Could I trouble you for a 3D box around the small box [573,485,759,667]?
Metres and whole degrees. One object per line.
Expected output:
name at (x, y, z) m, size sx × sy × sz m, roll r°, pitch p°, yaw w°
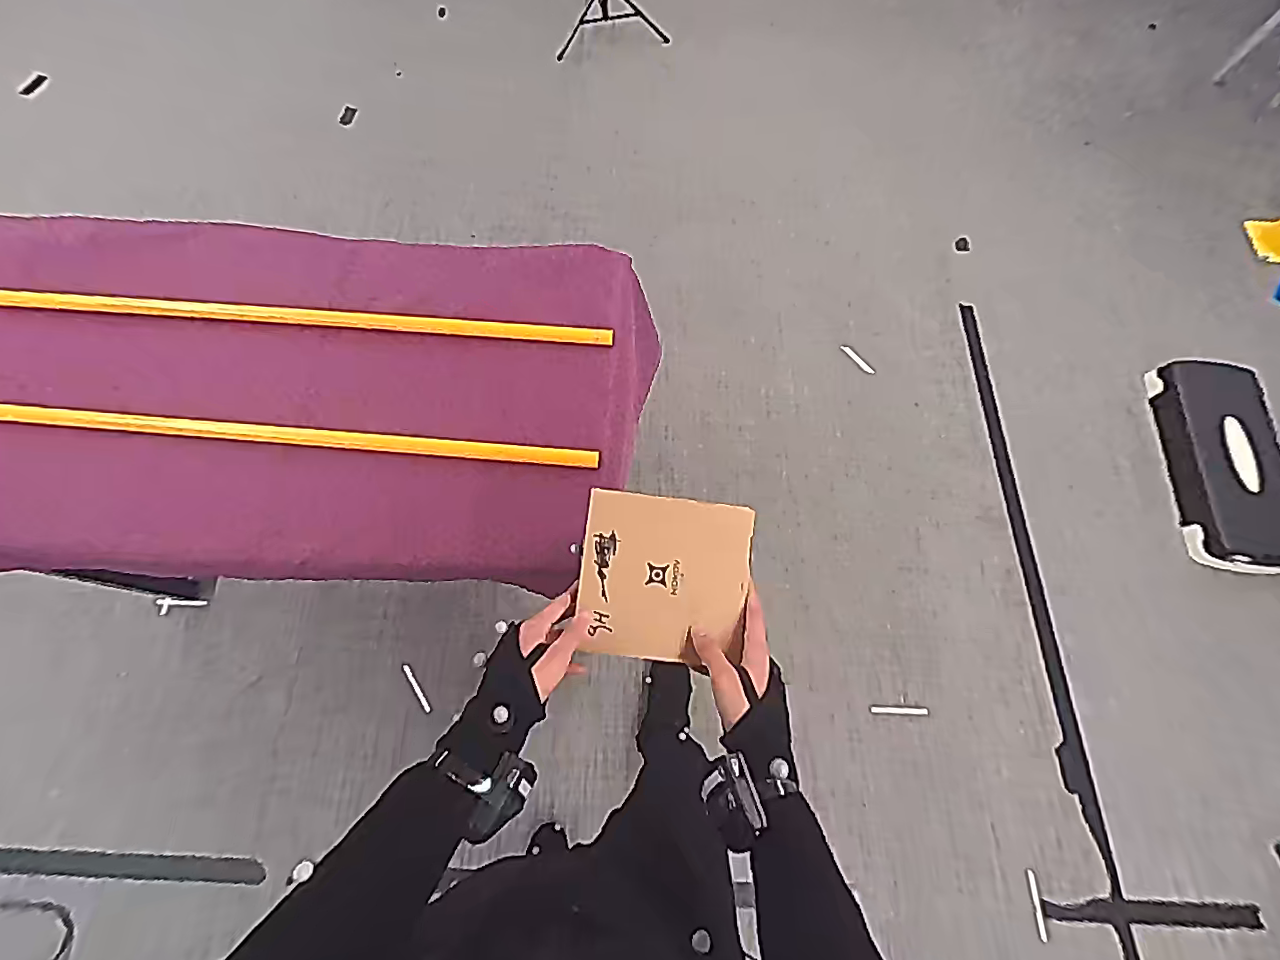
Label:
small box at (0.024, 0.109, 0.626) m, size 0.179 × 0.176 × 0.168 m, roll 7°, pitch 79°, yaw -3°
